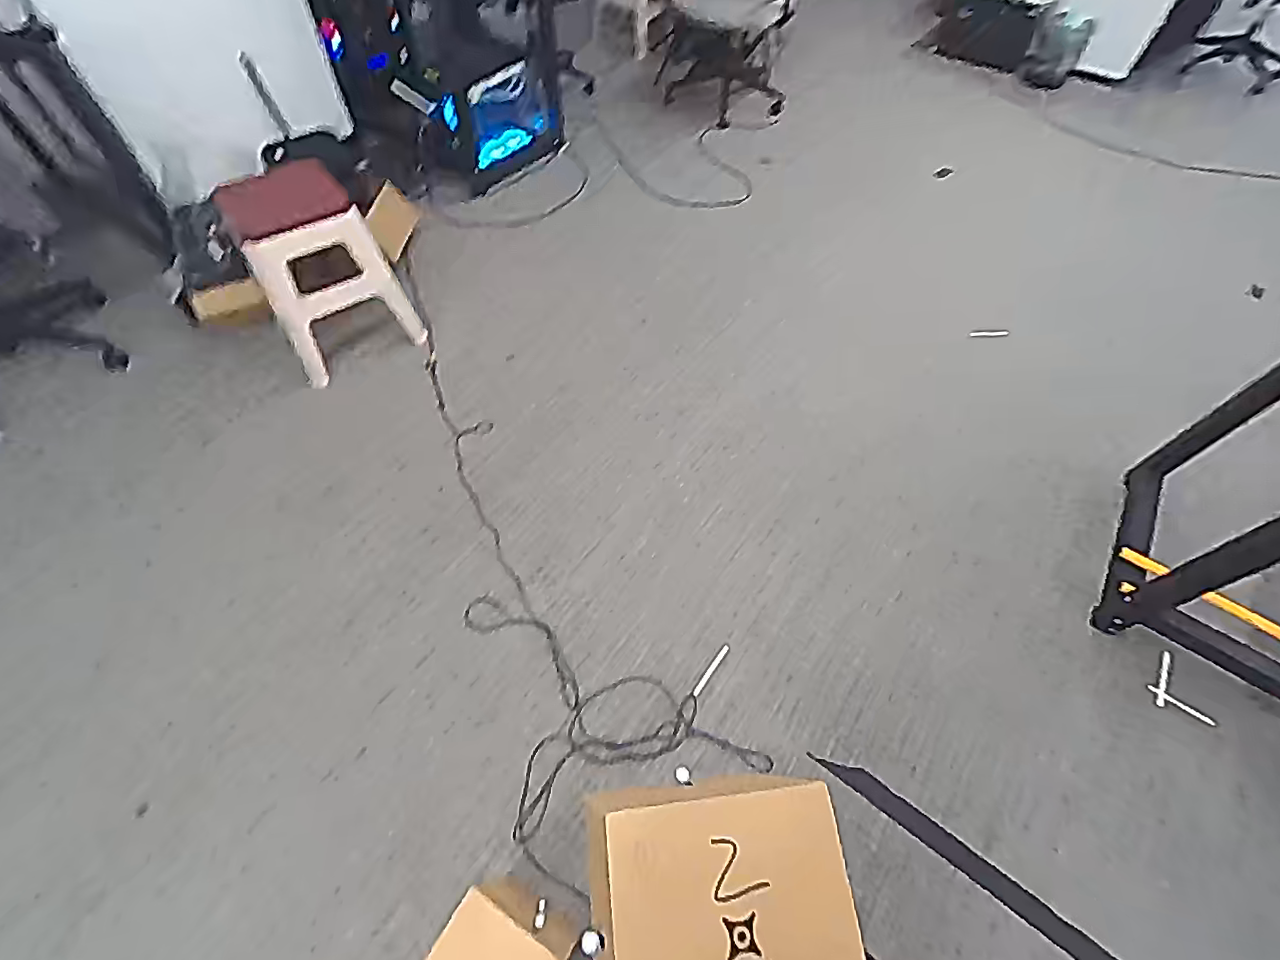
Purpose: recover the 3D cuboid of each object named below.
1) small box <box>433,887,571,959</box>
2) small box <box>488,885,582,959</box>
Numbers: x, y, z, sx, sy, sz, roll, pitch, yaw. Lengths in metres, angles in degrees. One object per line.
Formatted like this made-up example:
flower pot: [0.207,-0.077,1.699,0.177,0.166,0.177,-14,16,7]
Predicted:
small box: [-0.211,0.723,0.772,0.168,0.176,0.179,28,61,16]
small box: [-0.215,0.816,0.905,0.179,0.176,0.168,26,60,15]
